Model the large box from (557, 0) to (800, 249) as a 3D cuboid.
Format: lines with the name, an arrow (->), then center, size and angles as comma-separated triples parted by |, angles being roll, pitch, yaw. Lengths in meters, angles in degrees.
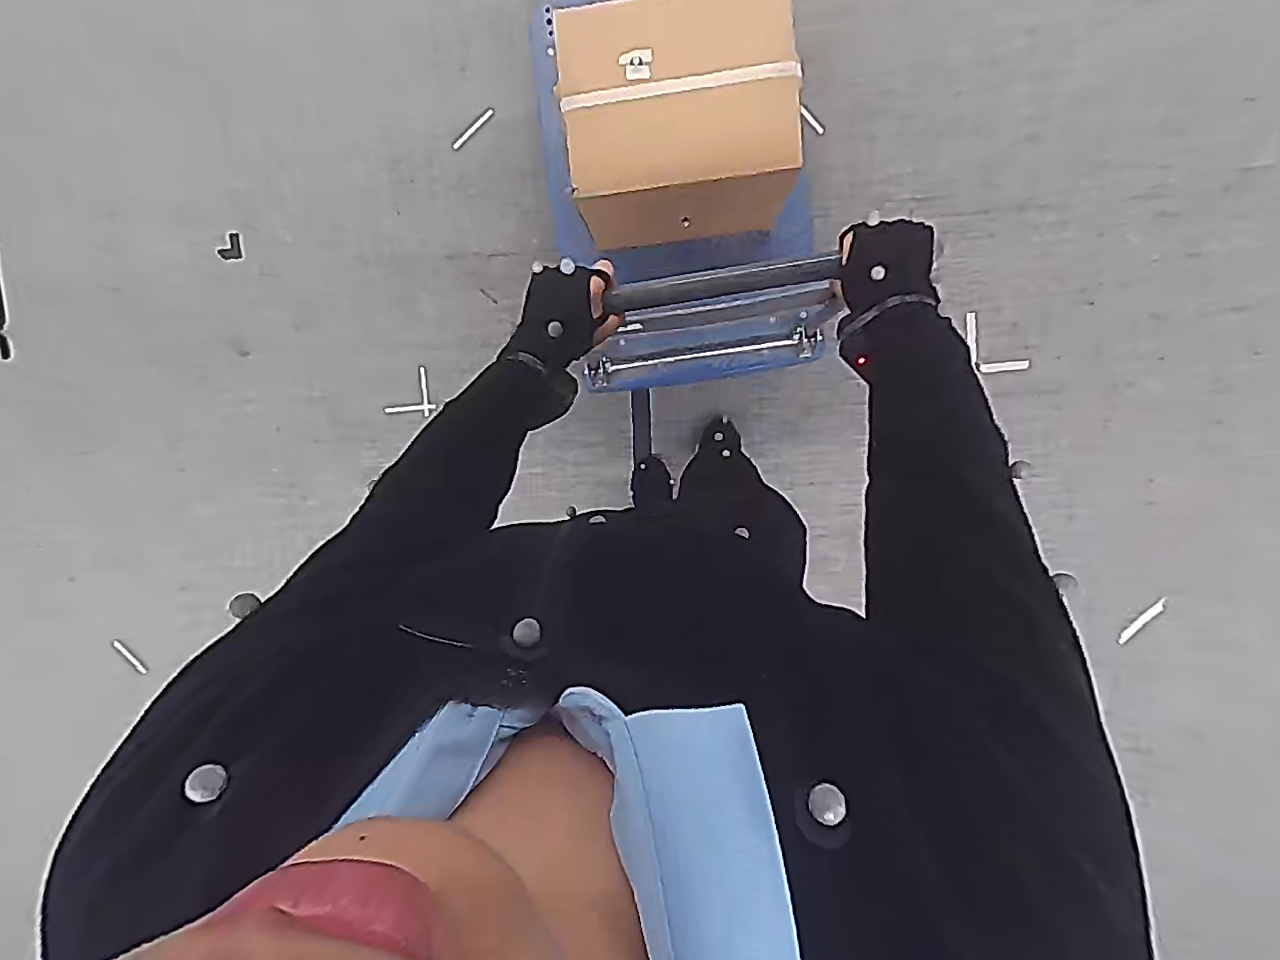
large box -> 0.079, -0.694, 1.092 | 0.408, 0.320, 0.320 | -6, 95, 5
